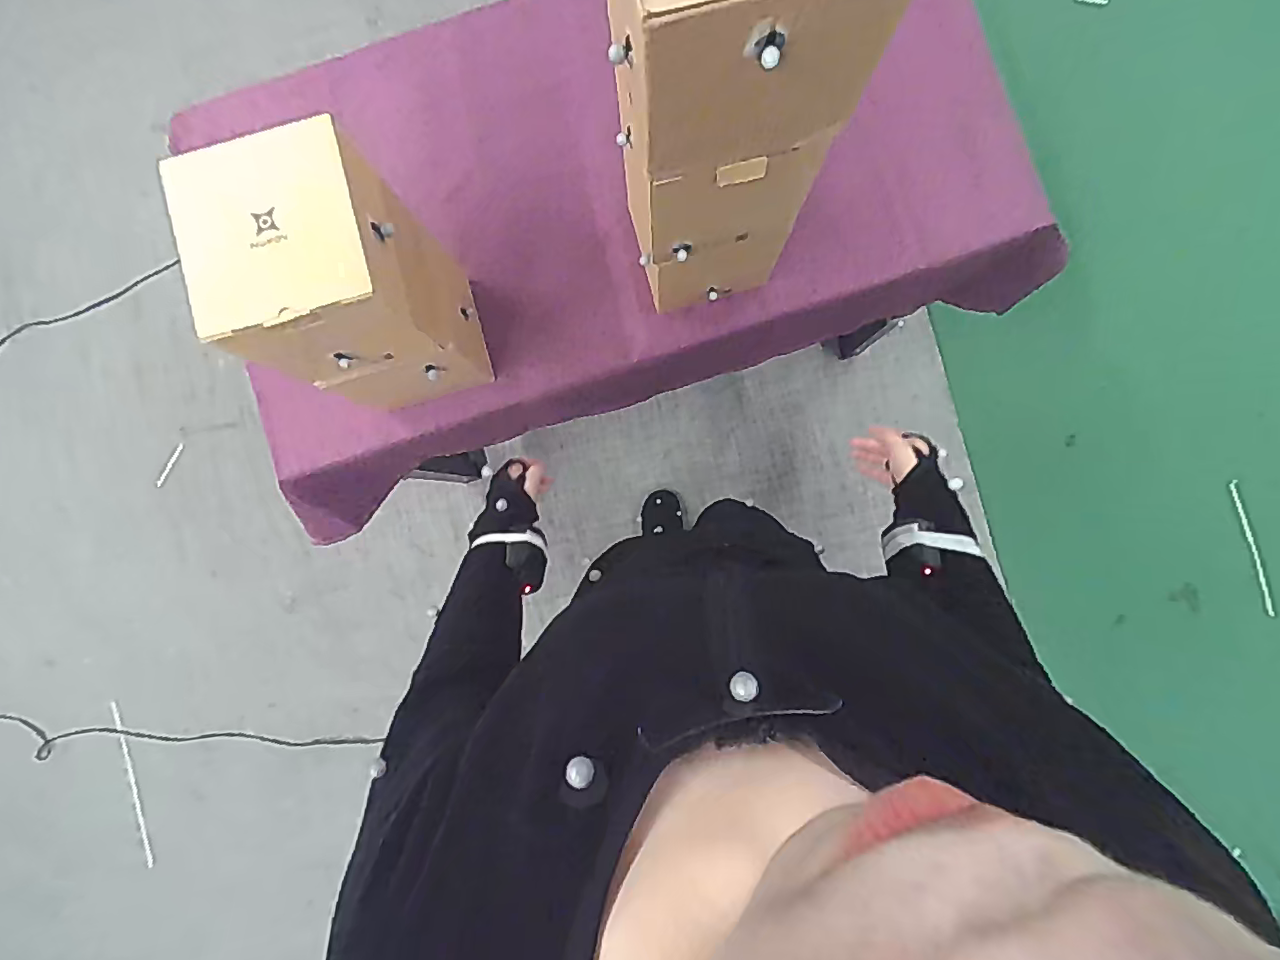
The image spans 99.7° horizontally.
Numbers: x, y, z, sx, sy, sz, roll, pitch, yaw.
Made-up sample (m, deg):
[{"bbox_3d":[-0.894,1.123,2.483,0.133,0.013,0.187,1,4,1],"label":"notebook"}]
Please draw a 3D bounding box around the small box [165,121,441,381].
[{"bbox_3d":[-0.336,-0.223,0.571,0.168,0.176,0.179,-15,87,2],"label":"small box"}]

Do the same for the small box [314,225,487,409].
[{"bbox_3d":[-0.323,-0.207,0.733,0.179,0.176,0.168,-16,86,2],"label":"small box"}]

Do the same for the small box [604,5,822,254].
[{"bbox_3d":[0.068,-0.356,0.556,0.168,0.176,0.179,-13,86,2],"label":"small box"}]

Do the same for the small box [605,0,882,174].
[{"bbox_3d":[0.064,-0.358,0.393,0.179,0.176,0.168,-11,88,2],"label":"small box"}]
